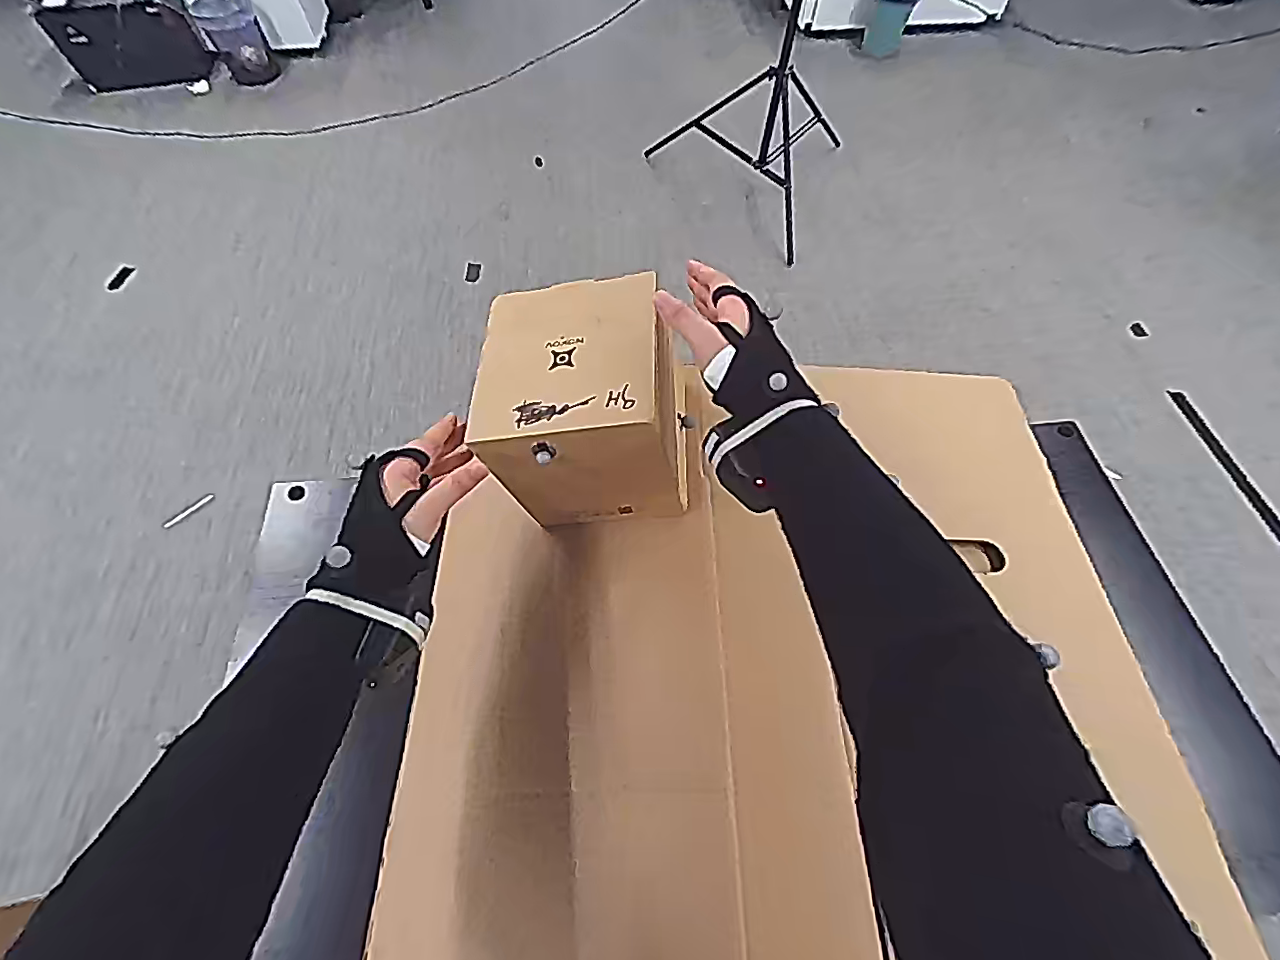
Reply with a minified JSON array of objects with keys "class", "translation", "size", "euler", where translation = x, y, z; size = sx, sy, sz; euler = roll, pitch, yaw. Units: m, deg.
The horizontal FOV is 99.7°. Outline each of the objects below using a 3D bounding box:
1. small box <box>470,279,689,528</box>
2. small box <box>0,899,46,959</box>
[{"class":"small box","translation":[-0.045,-0.069,0.551],"size":[0.168,0.176,0.179],"euler":[-6,58,13]},{"class":"small box","translation":[-1.130,0.809,0.864],"size":[0.168,0.176,0.179],"euler":[-11,60,-8]}]
